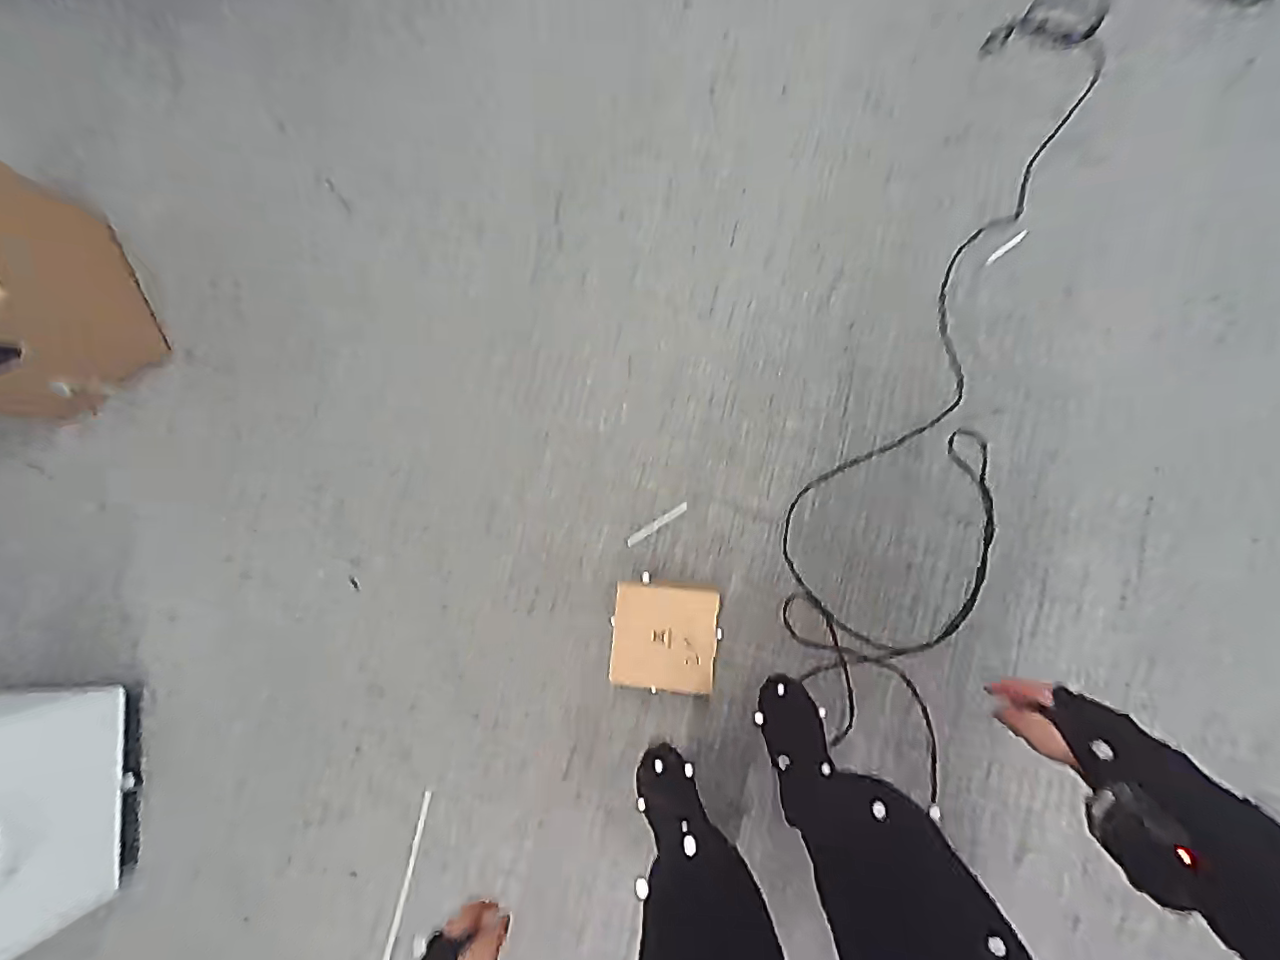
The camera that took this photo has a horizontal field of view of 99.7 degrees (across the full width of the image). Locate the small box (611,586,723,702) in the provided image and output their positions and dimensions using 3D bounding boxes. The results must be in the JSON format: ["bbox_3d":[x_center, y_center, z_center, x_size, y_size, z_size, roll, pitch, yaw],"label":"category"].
[{"bbox_3d":[0.053,0.285,0.977,0.179,0.176,0.168,5,84,6],"label":"small box"}]
